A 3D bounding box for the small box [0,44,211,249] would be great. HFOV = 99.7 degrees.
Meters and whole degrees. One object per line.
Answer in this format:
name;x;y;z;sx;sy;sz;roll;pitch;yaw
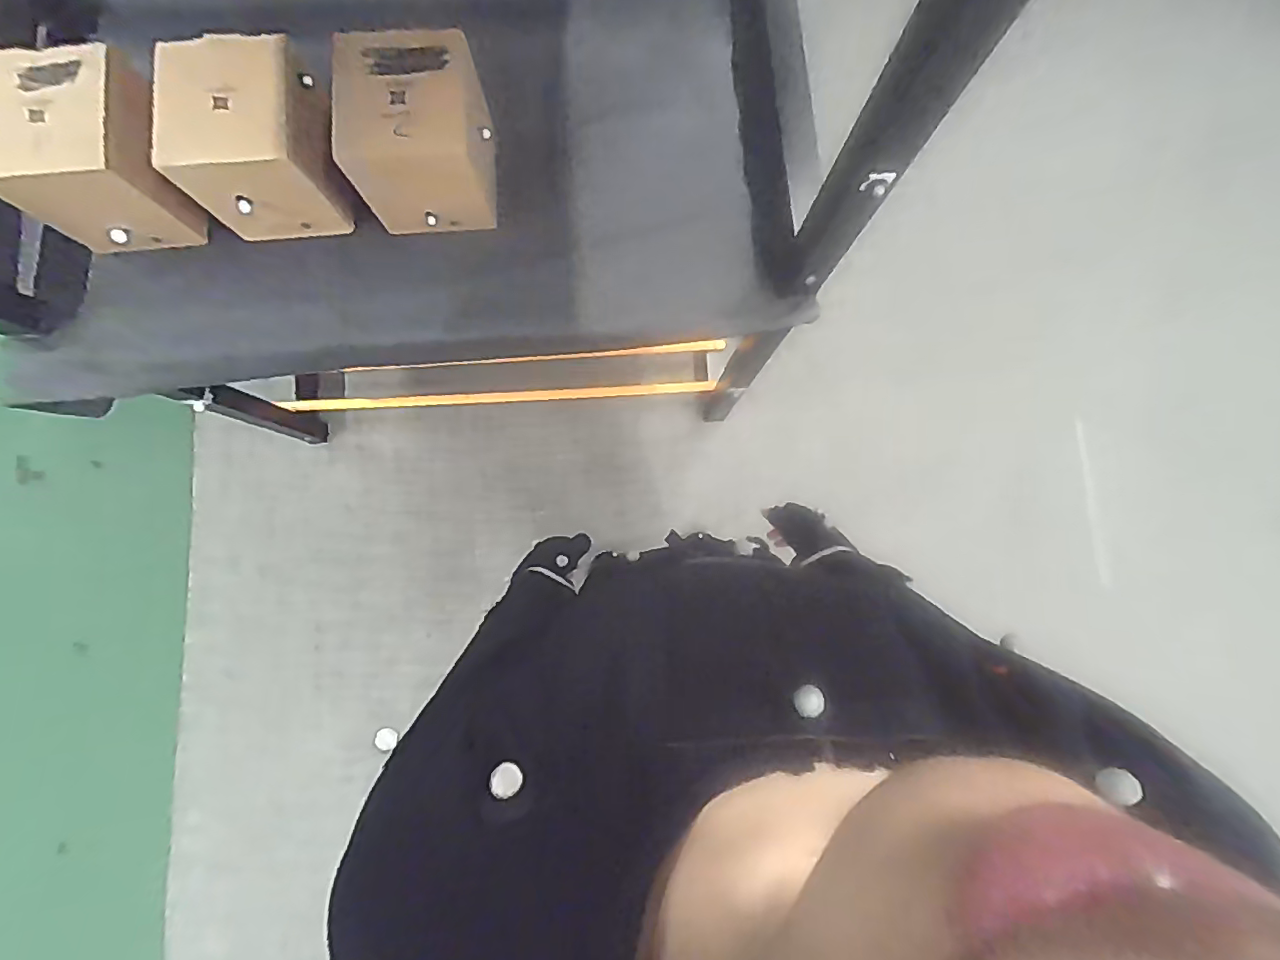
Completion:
small box;-0.738;-0.449;0.749;0.168;0.176;0.179;-6;83;-1
